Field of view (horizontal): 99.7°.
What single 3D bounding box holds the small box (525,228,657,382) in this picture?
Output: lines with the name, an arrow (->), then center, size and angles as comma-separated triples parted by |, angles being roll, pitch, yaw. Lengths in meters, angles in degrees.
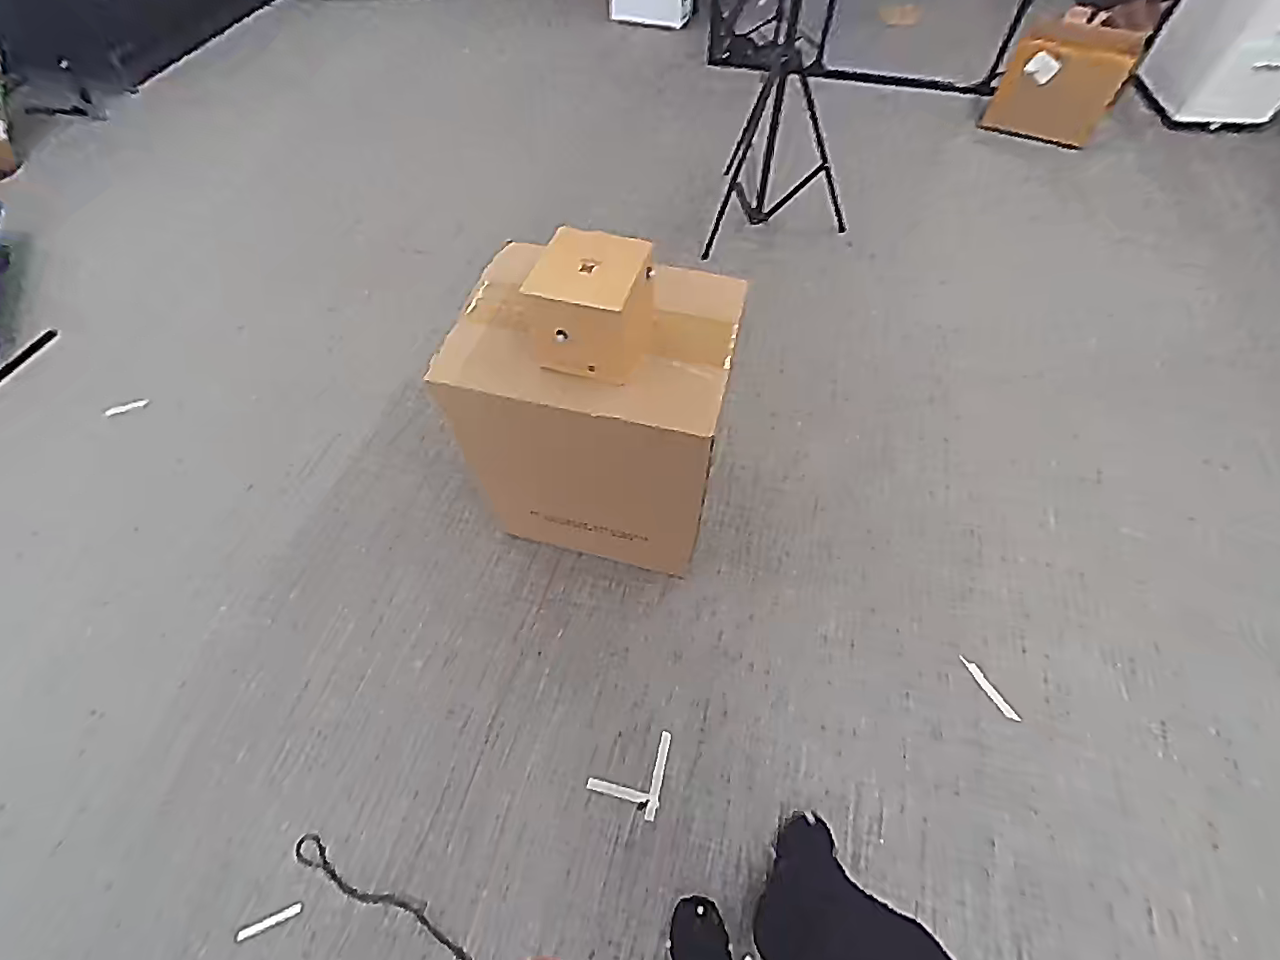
small box -> -0.071, -0.293, 0.919 | 0.168, 0.176, 0.179 | 14, 59, 10
